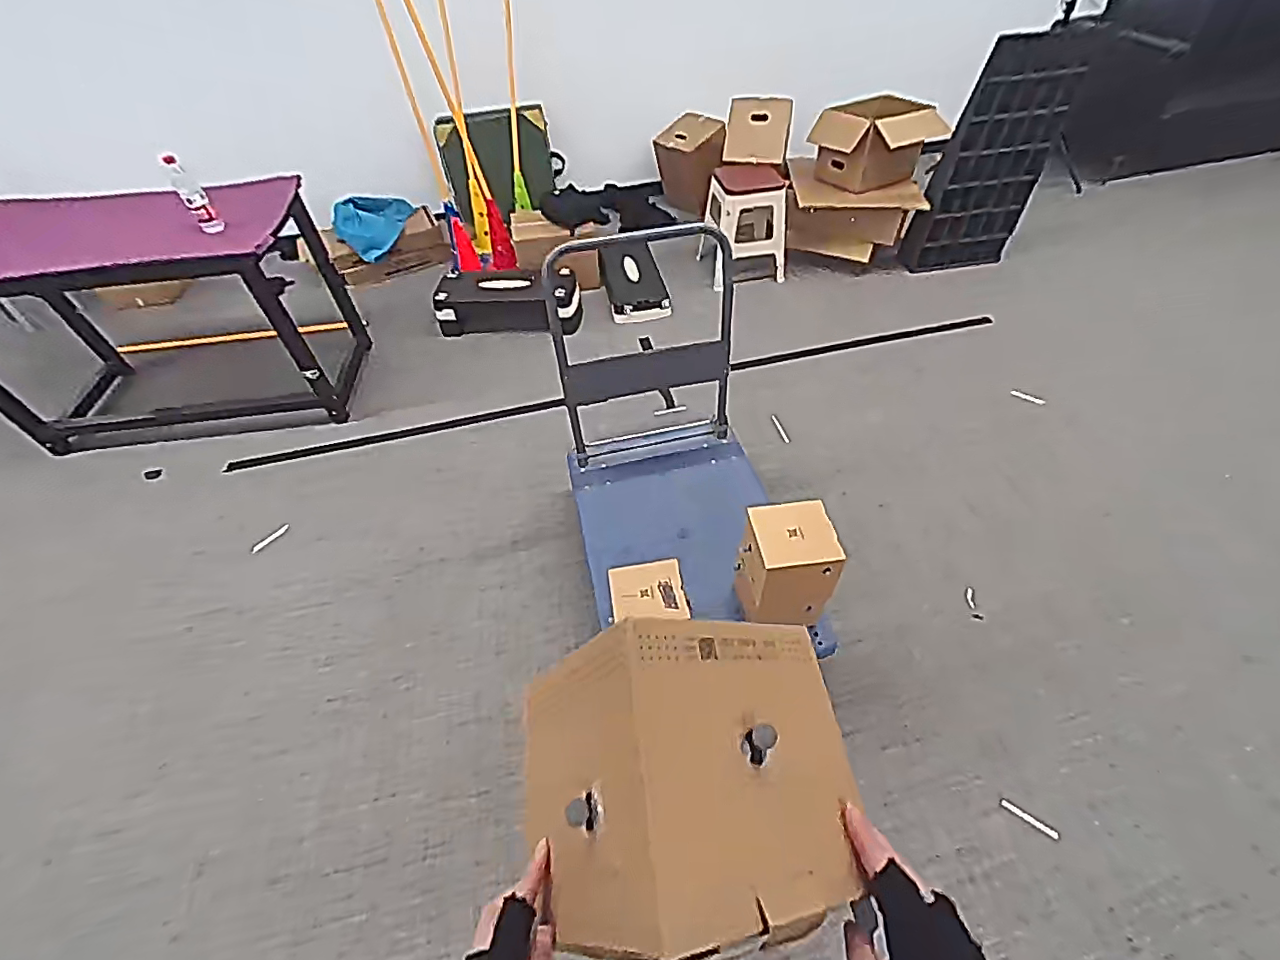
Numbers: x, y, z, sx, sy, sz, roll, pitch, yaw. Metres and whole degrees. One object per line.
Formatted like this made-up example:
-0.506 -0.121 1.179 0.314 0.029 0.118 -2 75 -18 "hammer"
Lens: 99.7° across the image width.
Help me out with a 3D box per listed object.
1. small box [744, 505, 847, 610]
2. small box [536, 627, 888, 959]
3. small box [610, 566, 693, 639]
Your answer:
0.341 0.180 1.230 0.179 0.176 0.168 -7 48 -3 "small box"
0.030 0.214 0.391 0.168 0.179 0.176 12 51 -30 "small box"
0.027 0.335 1.331 0.179 0.176 0.168 -9 48 -3 "small box"
